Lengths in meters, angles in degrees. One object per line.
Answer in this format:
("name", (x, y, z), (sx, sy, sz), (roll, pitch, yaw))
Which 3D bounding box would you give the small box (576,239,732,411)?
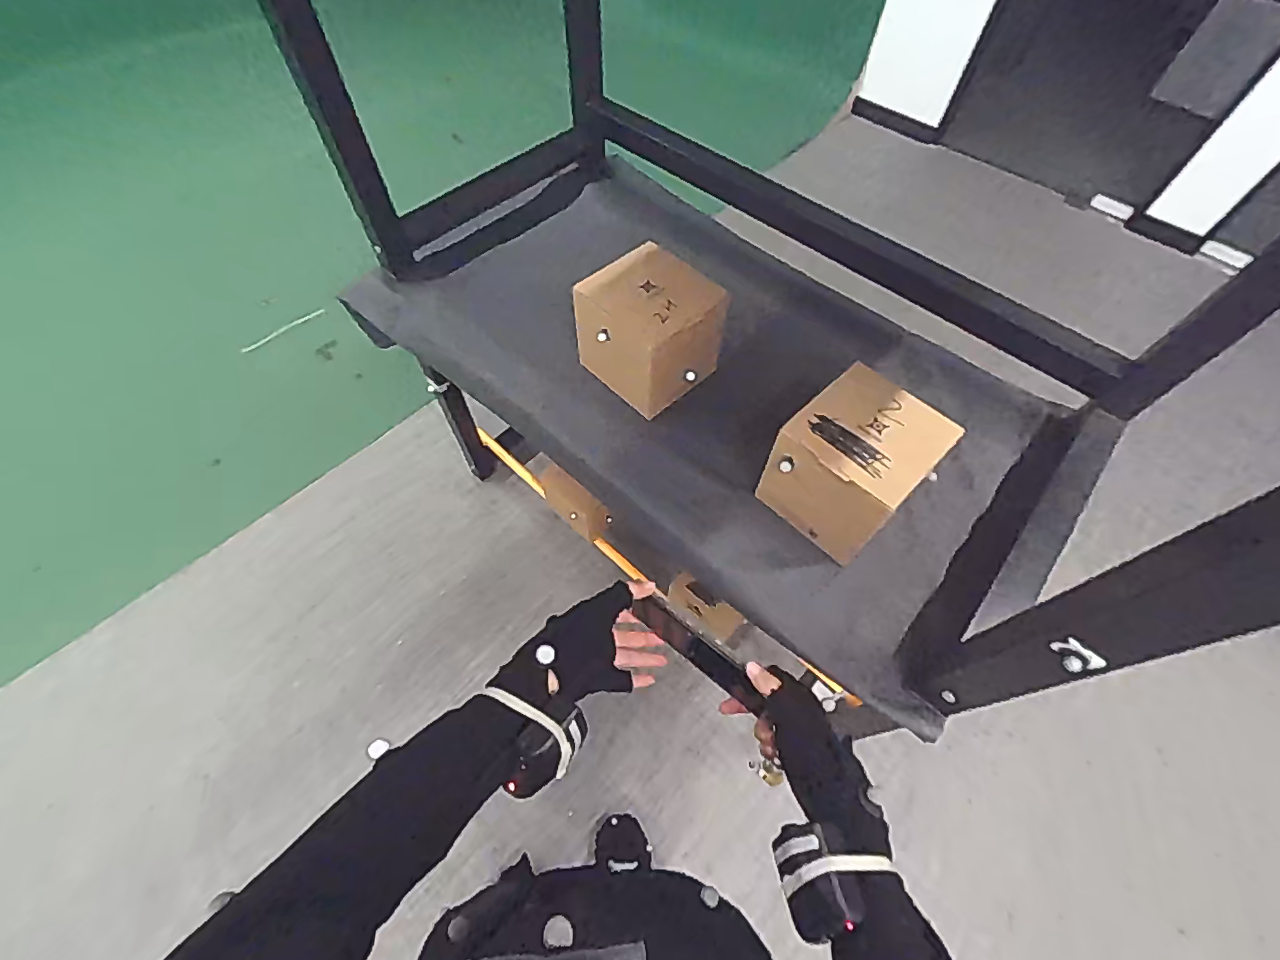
("small box", (0.018, -0.244, 0.868), (0.168, 0.176, 0.179), (-39, 67, -21))

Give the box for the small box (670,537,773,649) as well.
("small box", (0.186, 0.274, 1.287), (0.179, 0.176, 0.168), (-39, 67, -21))
